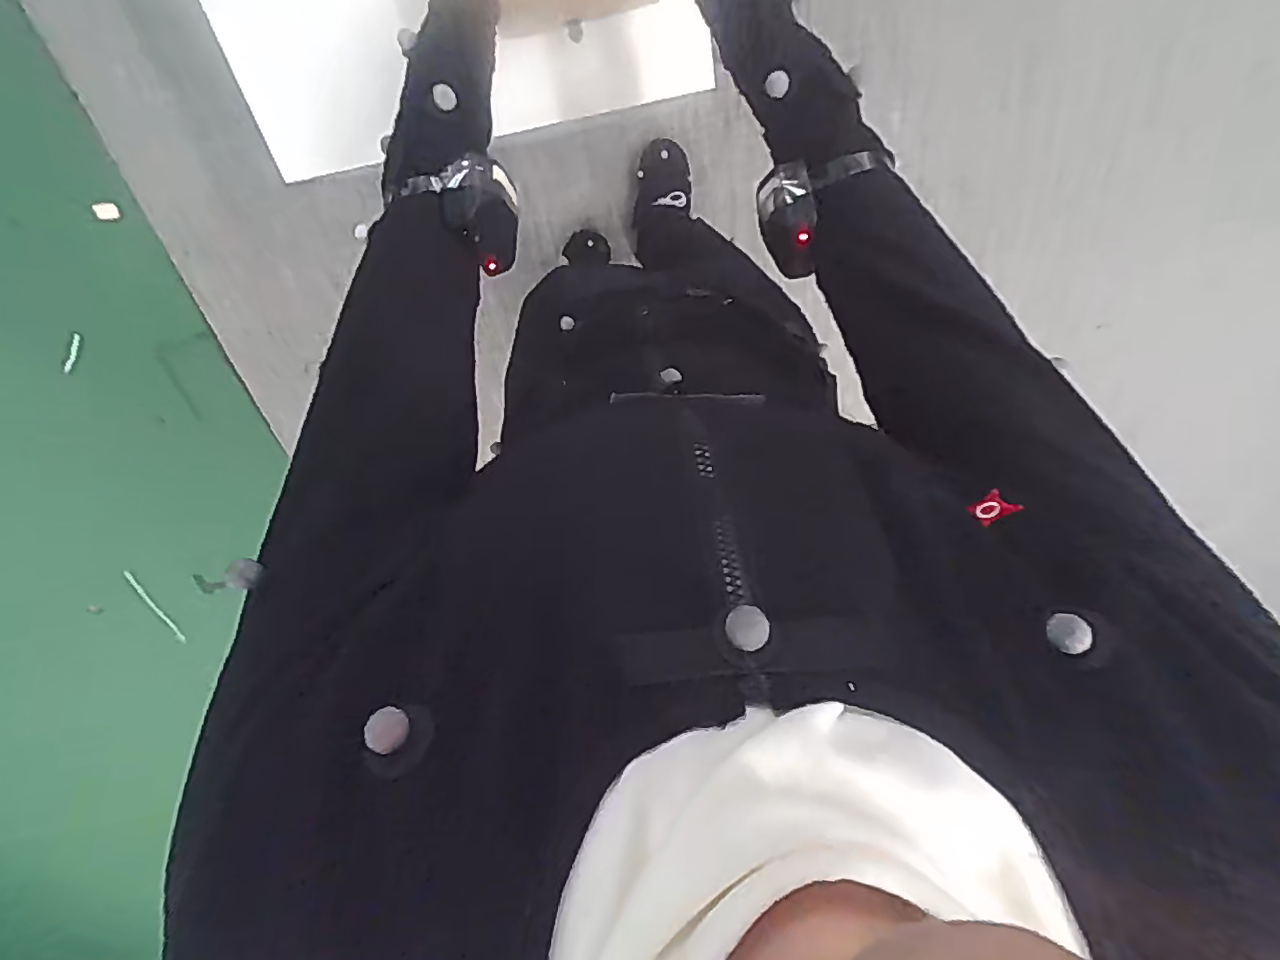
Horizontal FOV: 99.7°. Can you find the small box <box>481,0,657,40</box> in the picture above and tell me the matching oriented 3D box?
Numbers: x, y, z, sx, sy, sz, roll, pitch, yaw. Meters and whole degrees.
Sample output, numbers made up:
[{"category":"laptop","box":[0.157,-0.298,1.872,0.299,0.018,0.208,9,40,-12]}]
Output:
[{"category":"small box","box":[-0.067,-0.503,0.448,0.168,0.176,0.179,-12,123,5]}]
